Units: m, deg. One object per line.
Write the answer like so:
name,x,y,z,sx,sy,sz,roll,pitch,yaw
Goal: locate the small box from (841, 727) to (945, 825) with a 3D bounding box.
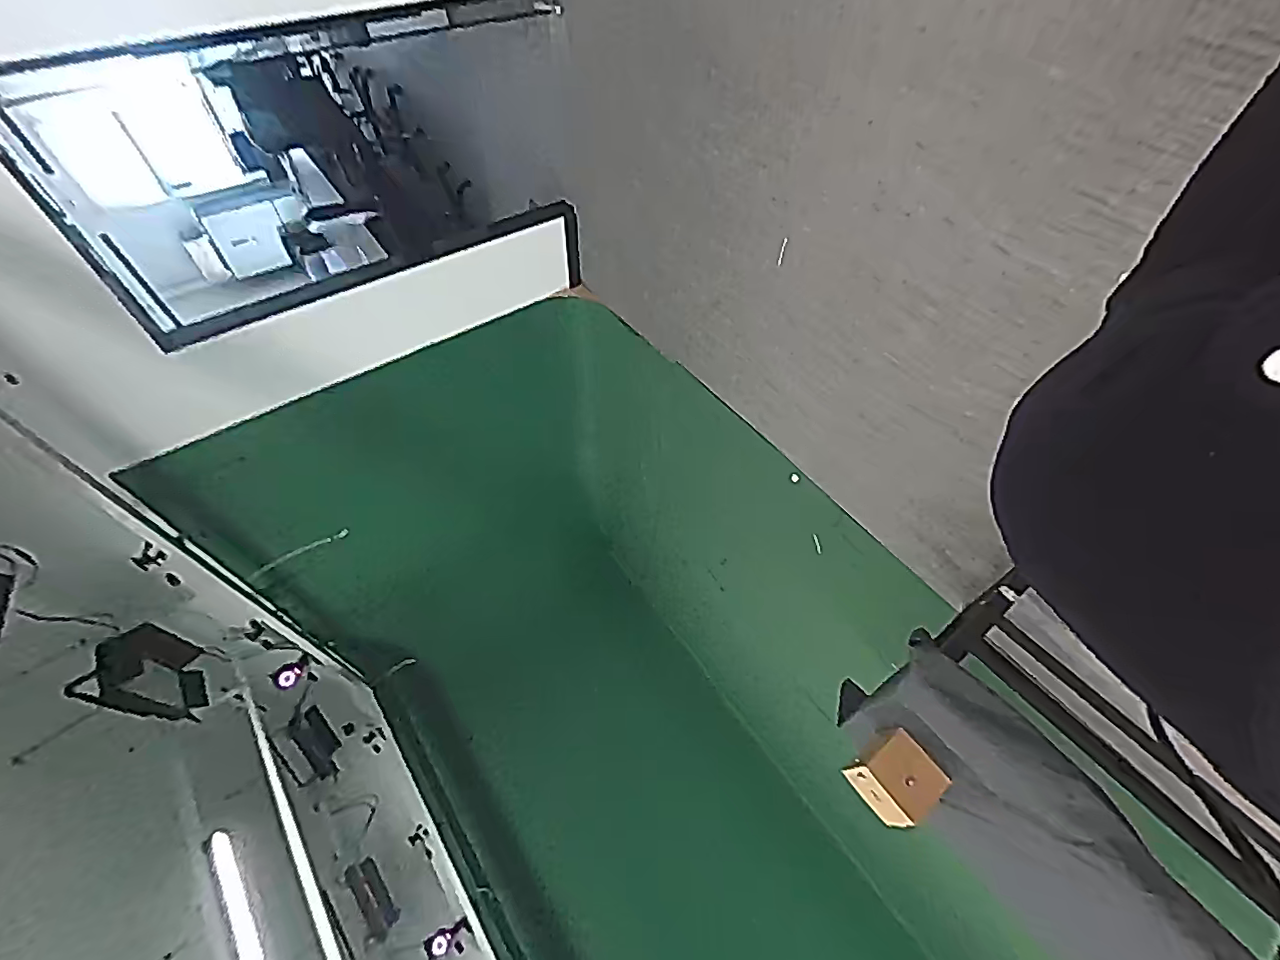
small box,0.717,0.840,1.534,0.179,0.176,0.168,48,154,23
